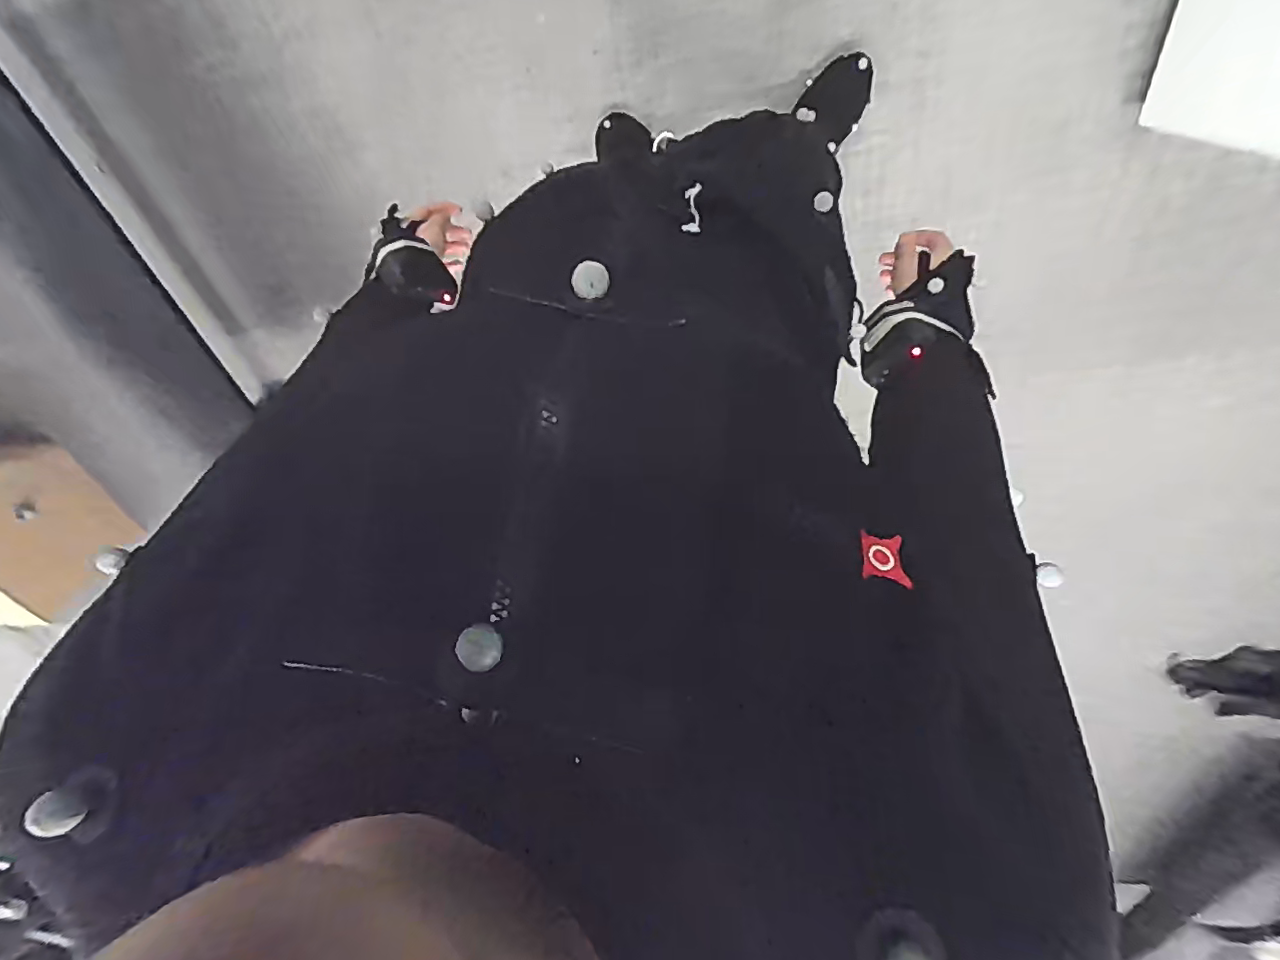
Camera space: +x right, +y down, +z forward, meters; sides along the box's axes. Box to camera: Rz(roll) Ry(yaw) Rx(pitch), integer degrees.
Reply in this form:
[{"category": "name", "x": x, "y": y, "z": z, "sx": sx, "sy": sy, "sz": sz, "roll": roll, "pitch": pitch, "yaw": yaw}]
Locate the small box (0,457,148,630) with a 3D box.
[{"category": "small box", "x": -0.840, "y": 0.080, "z": 0.722, "sx": 0.168, "sy": 0.176, "sz": 0.179, "roll": -2, "pitch": 130, "yaw": 10}]
